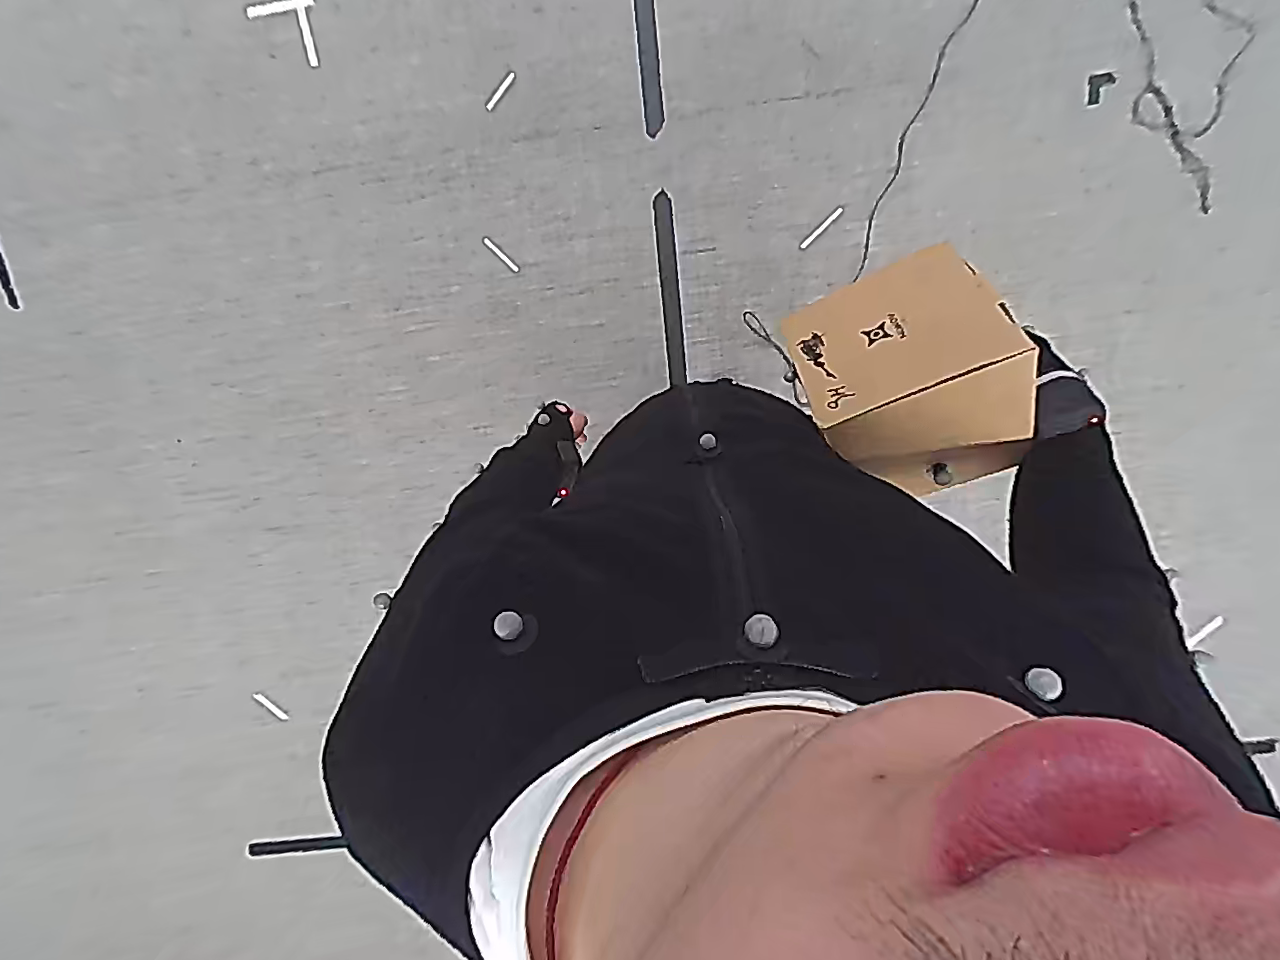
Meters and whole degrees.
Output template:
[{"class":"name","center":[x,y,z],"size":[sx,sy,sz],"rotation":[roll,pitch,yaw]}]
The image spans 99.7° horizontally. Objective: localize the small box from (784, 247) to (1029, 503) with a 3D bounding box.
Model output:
[{"class":"small box","center":[0.277,-0.102,0.579],"size":[0.179,0.168,0.176],"rotation":[-22,138,20]}]
